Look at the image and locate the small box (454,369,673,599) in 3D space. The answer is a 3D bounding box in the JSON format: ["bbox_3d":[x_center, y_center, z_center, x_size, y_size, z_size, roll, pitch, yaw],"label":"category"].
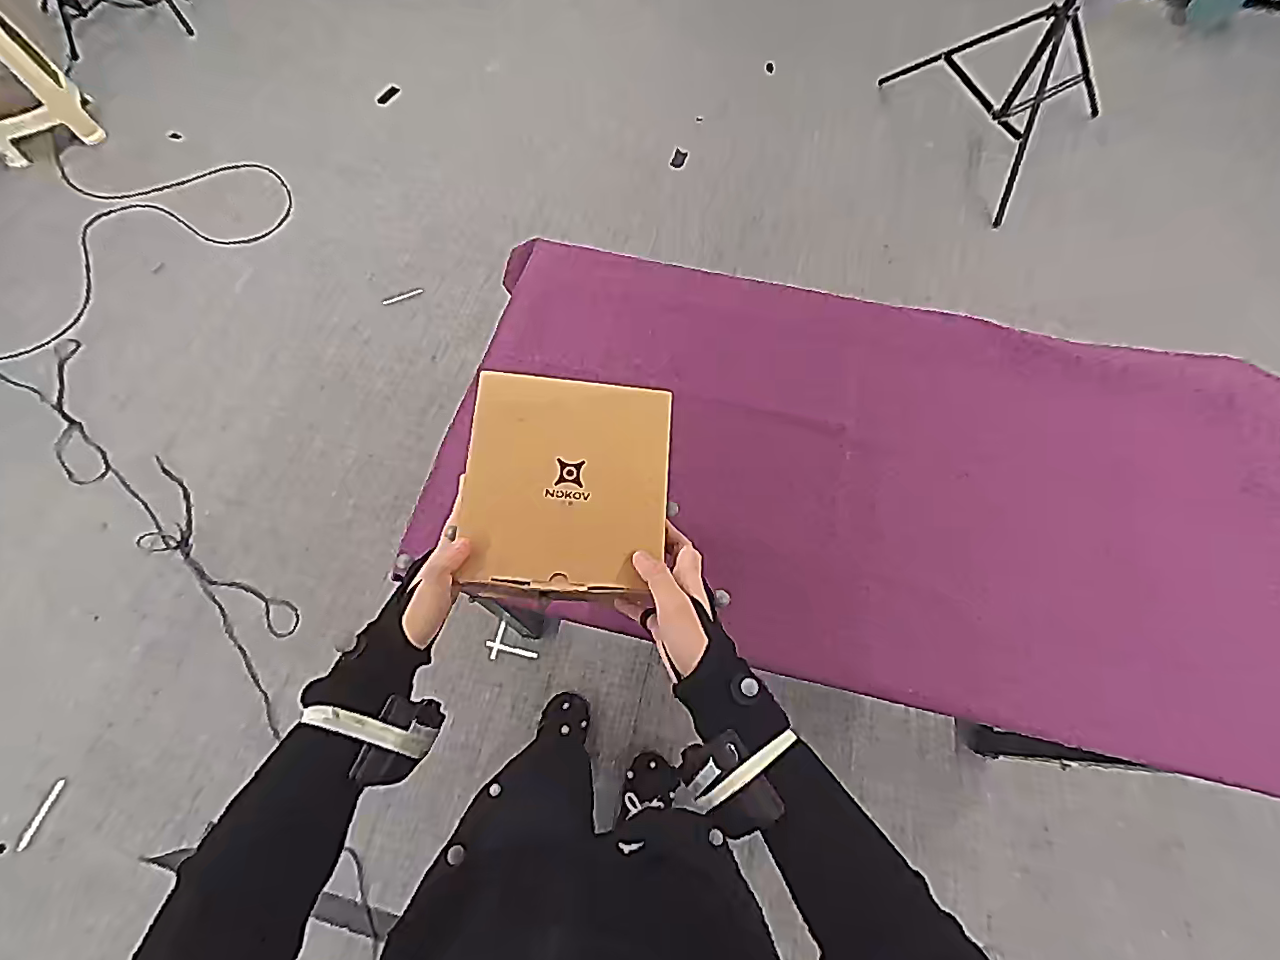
[{"bbox_3d":[-0.069,0.017,0.521,0.168,0.176,0.179,6,75,-7],"label":"small box"}]
